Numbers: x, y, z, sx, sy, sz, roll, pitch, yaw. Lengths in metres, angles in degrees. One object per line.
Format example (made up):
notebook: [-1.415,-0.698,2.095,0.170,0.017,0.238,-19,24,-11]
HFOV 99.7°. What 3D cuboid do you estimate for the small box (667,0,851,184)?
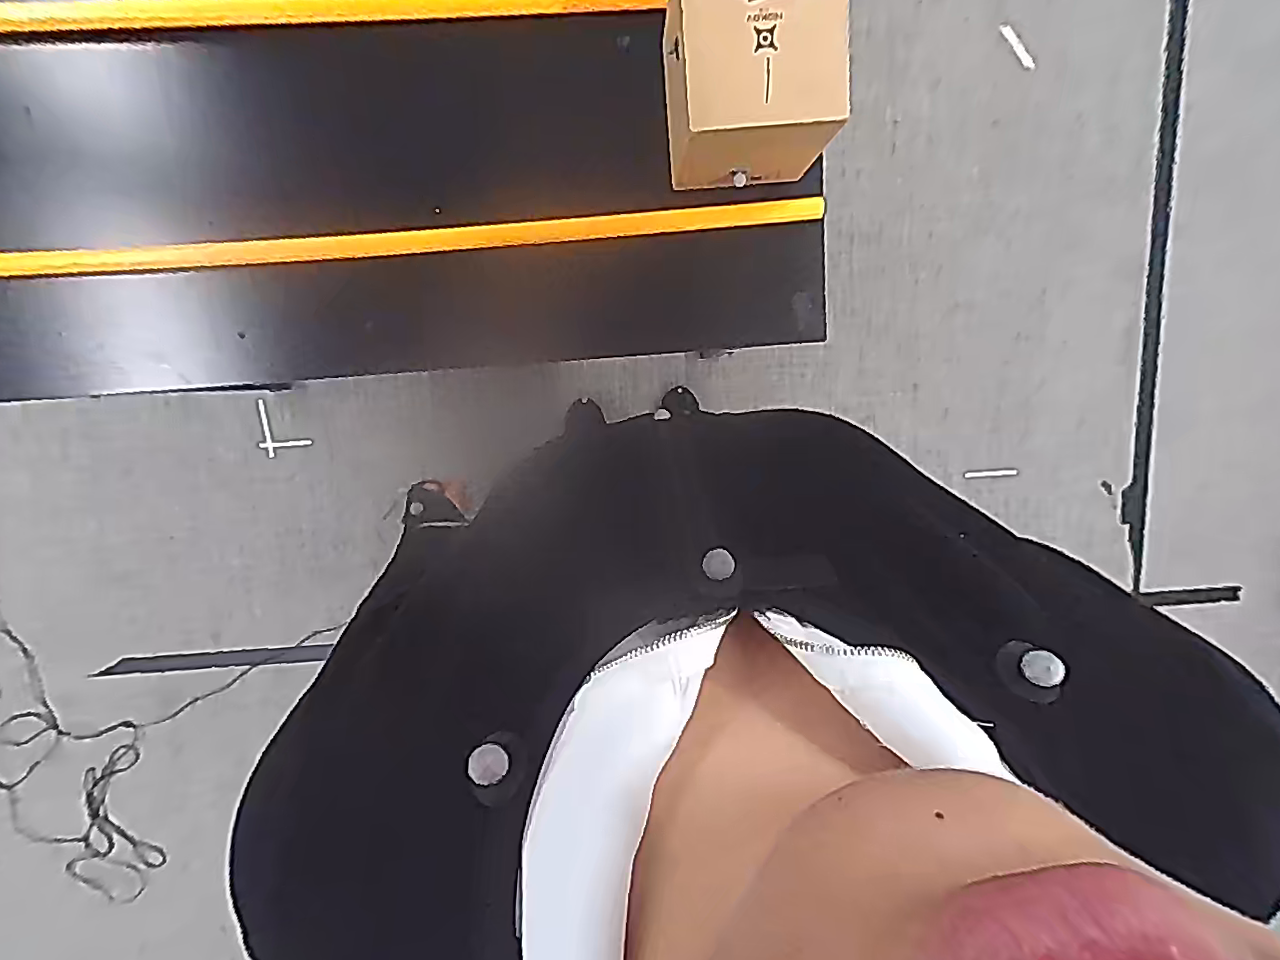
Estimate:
small box: [0.123,-0.462,0.610,0.168,0.176,0.179,-5,100,-1]
